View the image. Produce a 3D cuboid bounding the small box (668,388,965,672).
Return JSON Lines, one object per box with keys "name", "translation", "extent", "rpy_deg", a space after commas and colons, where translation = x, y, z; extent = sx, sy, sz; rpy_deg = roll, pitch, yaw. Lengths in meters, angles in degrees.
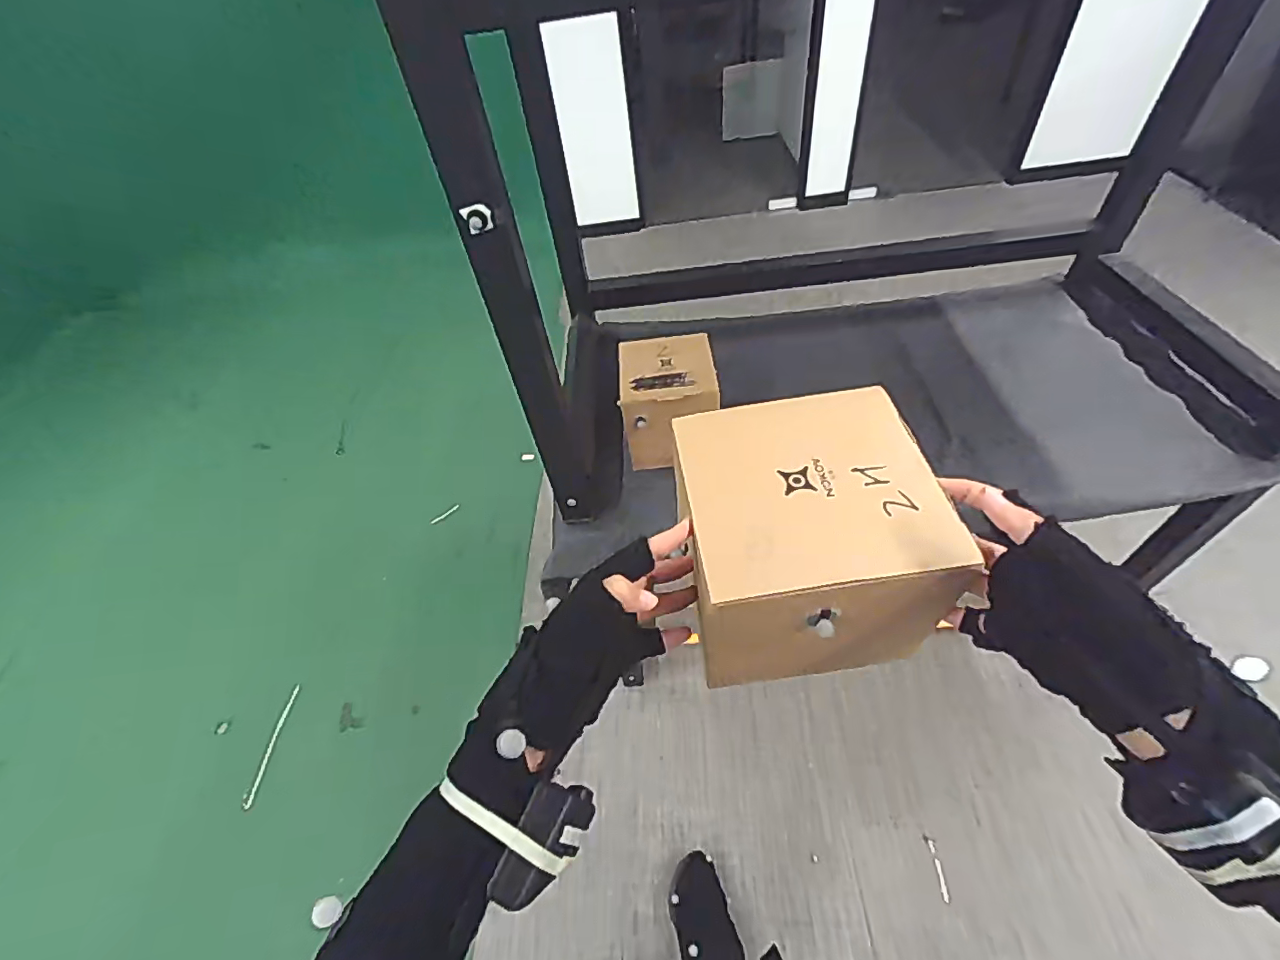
{"name": "small box", "translation": [0.125, 0.049, 0.459], "extent": [0.179, 0.176, 0.168], "rpy_deg": [-8, 52, 0]}
